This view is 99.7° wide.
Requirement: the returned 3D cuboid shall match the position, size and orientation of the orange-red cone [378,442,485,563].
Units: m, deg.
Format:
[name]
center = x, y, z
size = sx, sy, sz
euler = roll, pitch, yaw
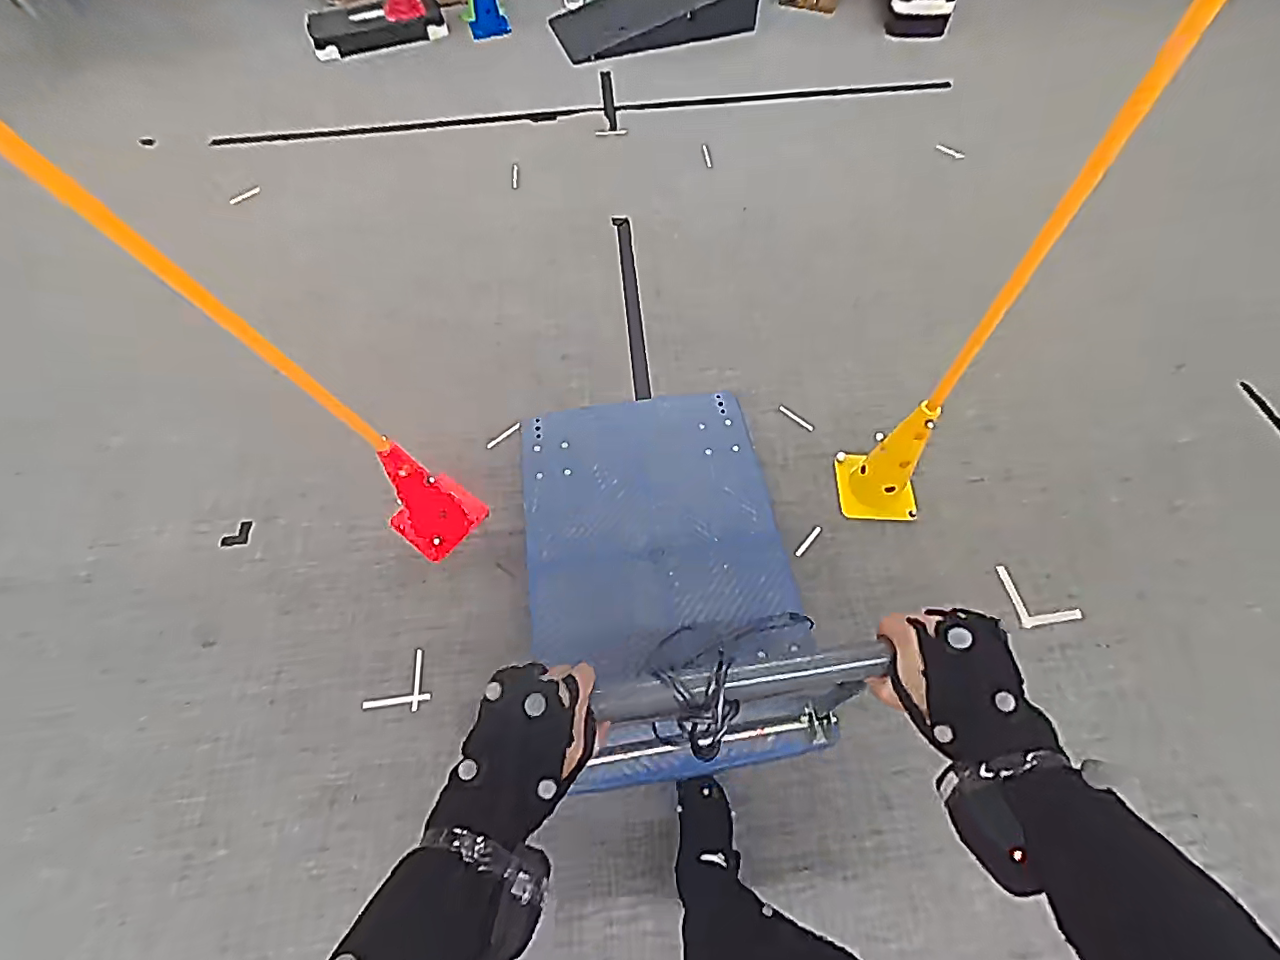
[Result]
[orange-red cone]
center = -0.541, 0.019, 1.303
size = 0.198, 0.360, 0.199
euler = 35, 65, 18
